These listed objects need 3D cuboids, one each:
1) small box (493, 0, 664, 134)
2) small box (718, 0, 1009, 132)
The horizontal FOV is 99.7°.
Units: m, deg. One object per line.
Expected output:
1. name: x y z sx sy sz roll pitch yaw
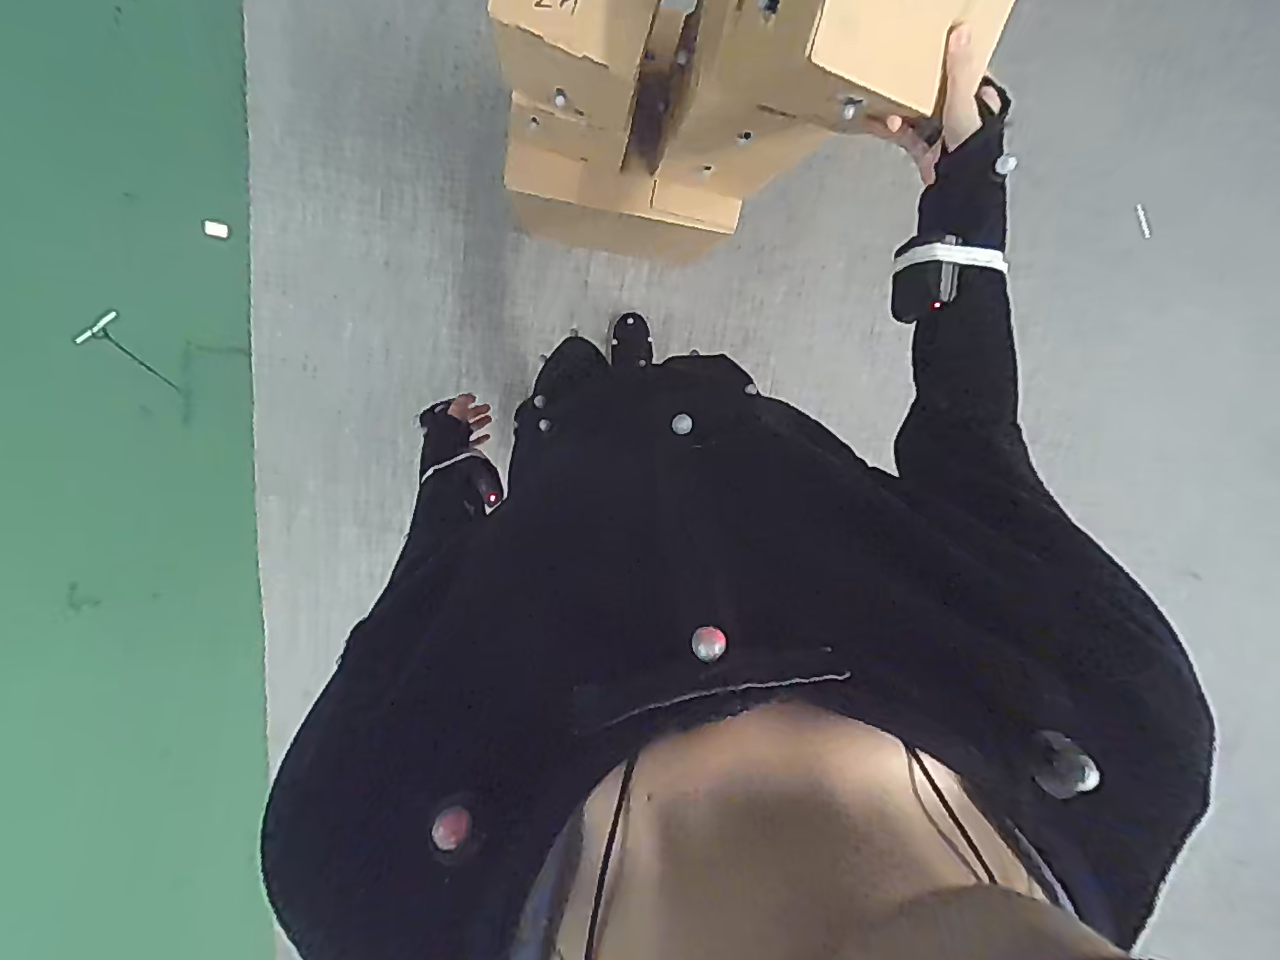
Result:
1. small box: -0.063 -0.560 0.643 0.168 0.176 0.179 17 102 -10
2. small box: 0.193 -0.424 0.477 0.179 0.176 0.168 3 118 -24
